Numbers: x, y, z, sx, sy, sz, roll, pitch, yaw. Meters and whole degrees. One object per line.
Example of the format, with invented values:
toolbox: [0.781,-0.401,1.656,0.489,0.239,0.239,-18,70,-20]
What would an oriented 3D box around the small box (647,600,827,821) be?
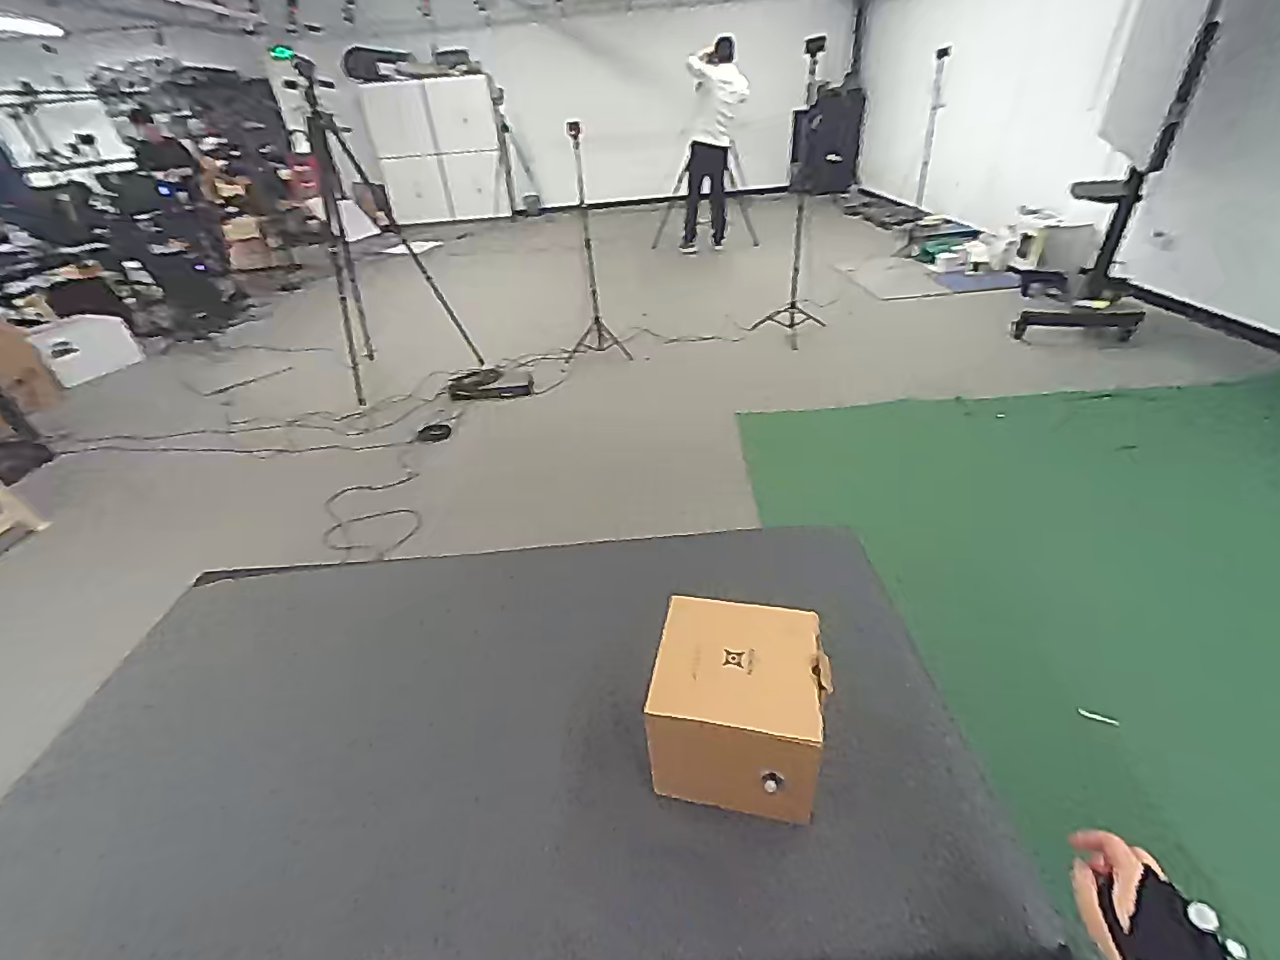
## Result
small box: [0.115,0.267,0.634,0.179,0.176,0.168,3,34,13]
